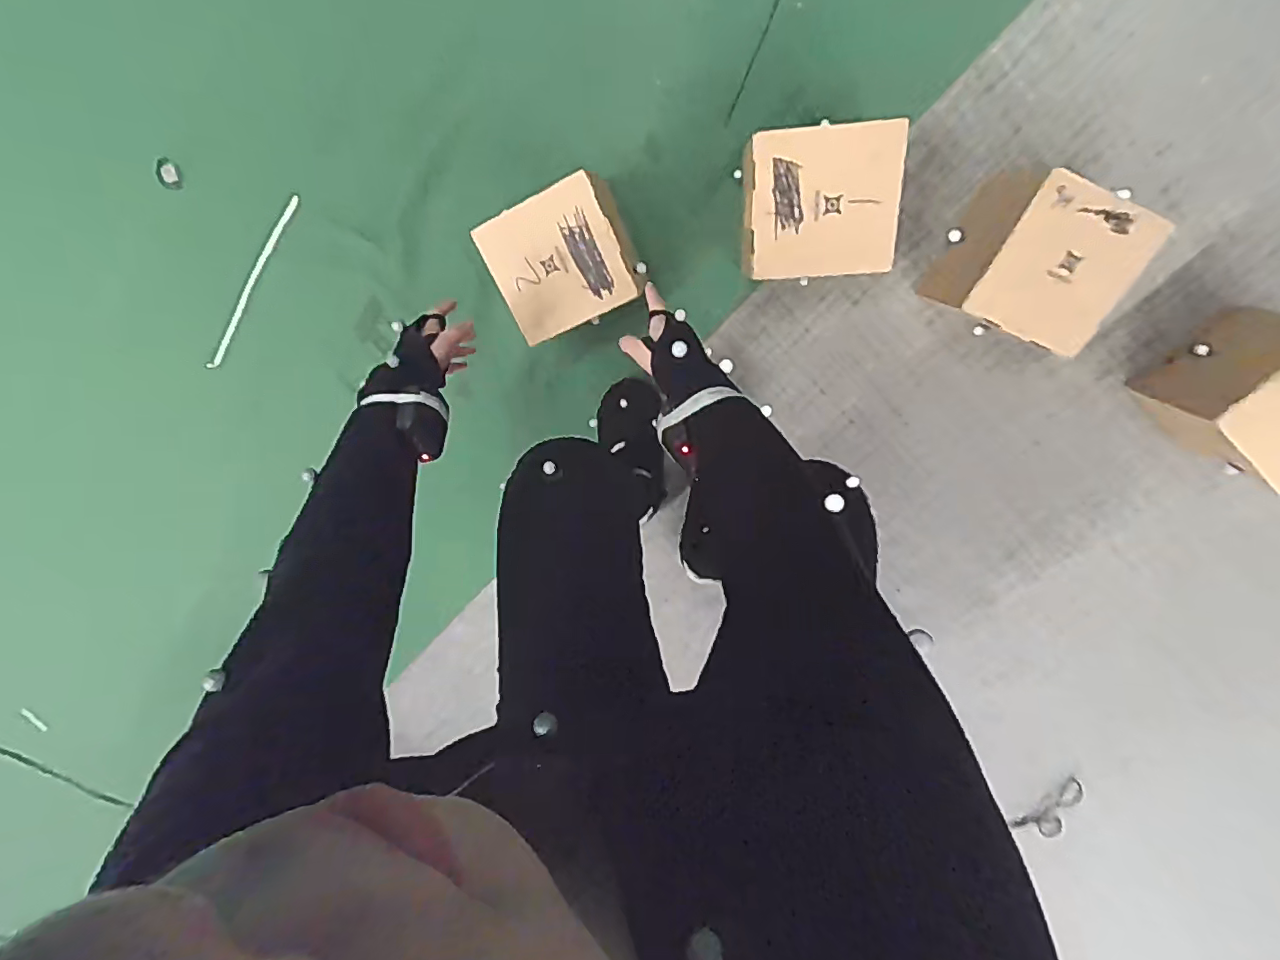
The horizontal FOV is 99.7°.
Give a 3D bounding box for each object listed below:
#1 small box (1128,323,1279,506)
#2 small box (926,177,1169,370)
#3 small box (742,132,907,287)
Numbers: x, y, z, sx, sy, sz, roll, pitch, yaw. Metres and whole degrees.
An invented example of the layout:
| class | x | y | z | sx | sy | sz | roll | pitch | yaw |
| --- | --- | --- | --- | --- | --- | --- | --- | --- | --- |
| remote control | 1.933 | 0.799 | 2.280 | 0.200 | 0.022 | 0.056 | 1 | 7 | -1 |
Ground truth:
| class | x | y | z | sx | sy | sz | roll | pitch | yaw |
| --- | --- | --- | --- | --- | --- | --- | --- | --- | --- |
| small box | 0.876 | -0.102 | 0.772 | 0.179 | 0.176 | 0.168 | 38 | 113 | -12 |
| small box | 0.521 | -0.279 | 0.732 | 0.168 | 0.176 | 0.179 | 24 | 116 | -5 |
| small box | 0.231 | -0.355 | 0.730 | 0.179 | 0.176 | 0.168 | -1 | 115 | 6 |
